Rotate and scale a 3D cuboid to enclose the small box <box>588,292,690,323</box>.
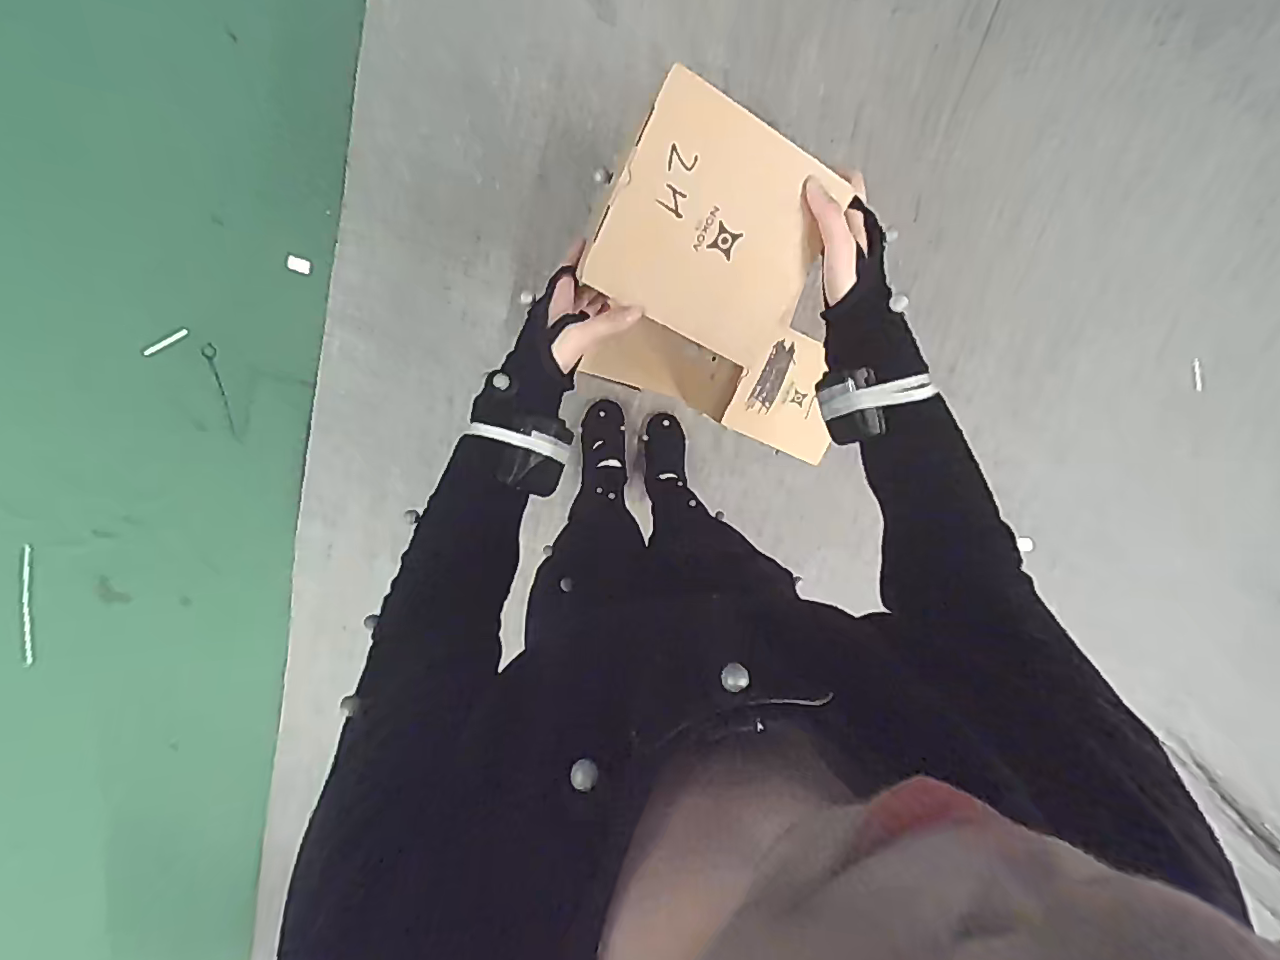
[{"bbox_3d":[0.008,-0.382,0.967,0.179,0.176,0.168,12,102,-8],"label":"small box"}]

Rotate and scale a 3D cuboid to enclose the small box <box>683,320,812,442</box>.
[{"bbox_3d":[0.194,-0.193,1.033,0.168,0.176,0.179,17,102,-10],"label":"small box"}]

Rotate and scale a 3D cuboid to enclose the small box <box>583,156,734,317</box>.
[{"bbox_3d":[0.017,-0.347,0.808,0.179,0.176,0.168,12,102,-9],"label":"small box"}]
